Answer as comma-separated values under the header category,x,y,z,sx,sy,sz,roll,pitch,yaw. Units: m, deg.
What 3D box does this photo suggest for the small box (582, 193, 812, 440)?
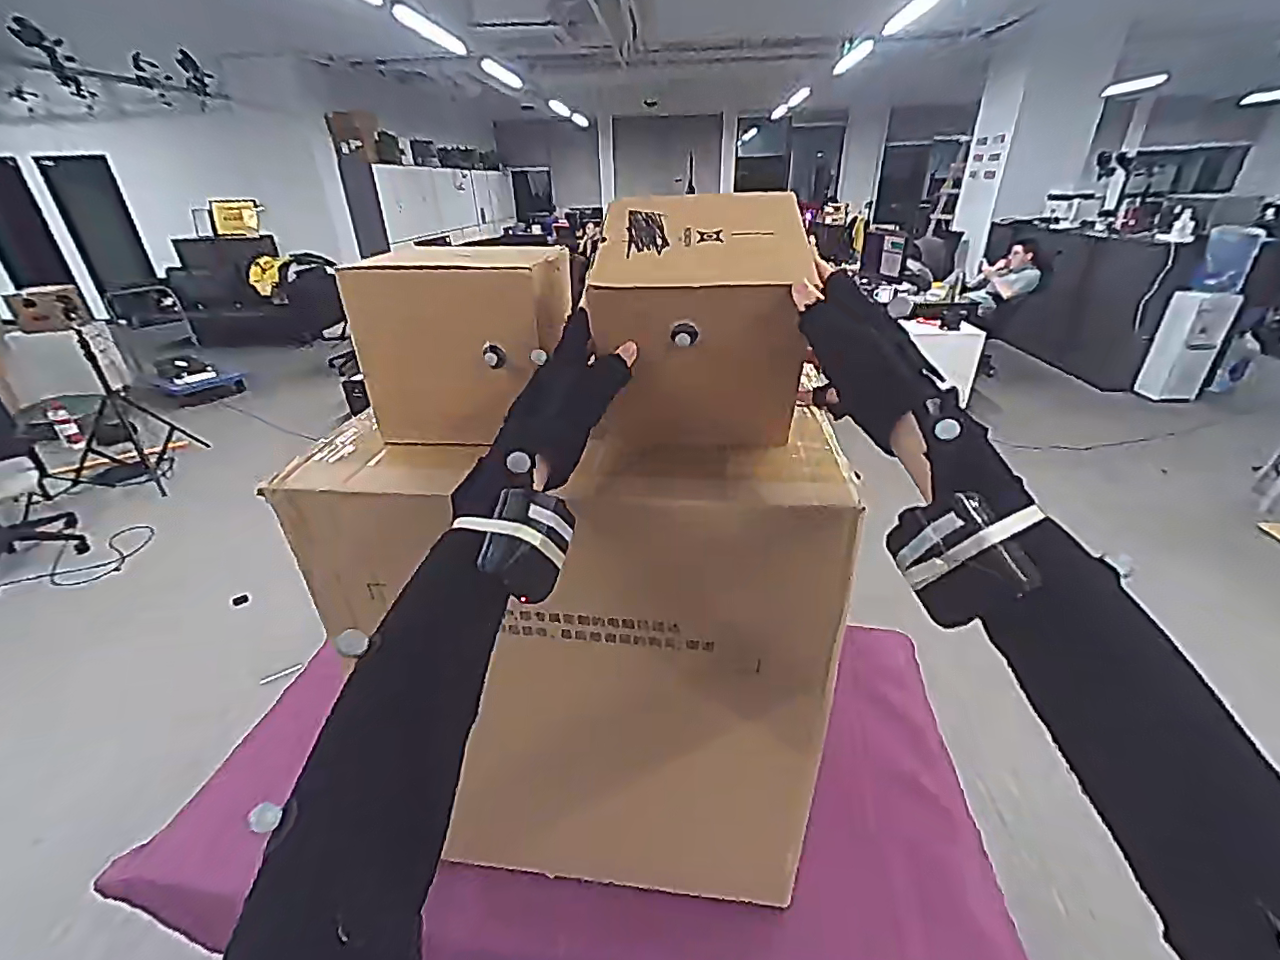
category,x,y,z,sx,sy,sz,roll,pitch,yaw
small box,0.053,-0.151,0.514,0.179,0.176,0.168,1,48,5

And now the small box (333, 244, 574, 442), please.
category,x,y,z,sx,sy,sz,roll,pitch,yaw
small box,-0.170,-0.145,0.563,0.179,0.176,0.168,0,28,4
